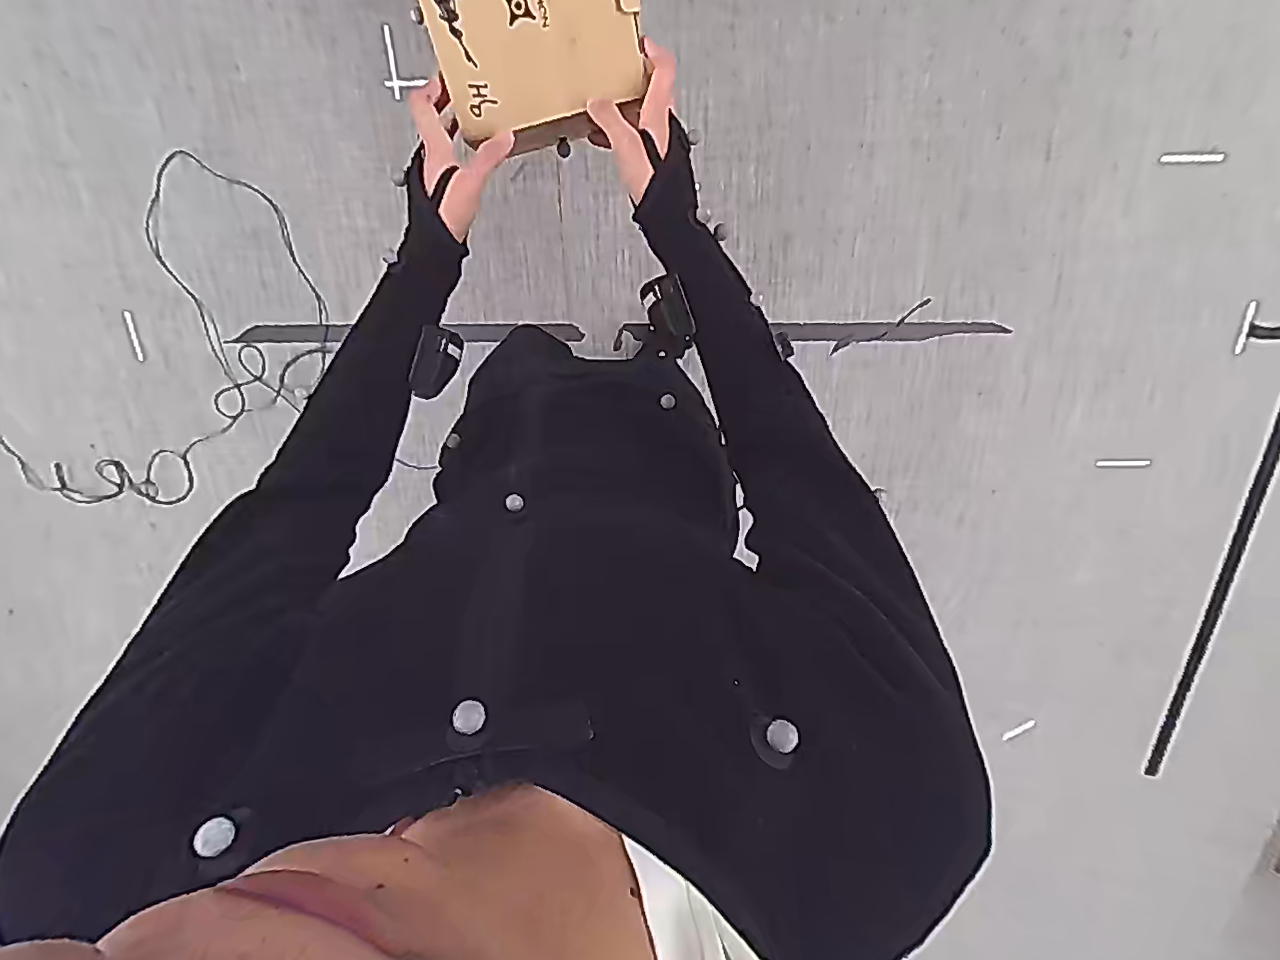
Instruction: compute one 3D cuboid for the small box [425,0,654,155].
[{"bbox_3d":[-0.097,-0.428,0.517,0.179,0.176,0.168,-14,116,0],"label":"small box"}]
